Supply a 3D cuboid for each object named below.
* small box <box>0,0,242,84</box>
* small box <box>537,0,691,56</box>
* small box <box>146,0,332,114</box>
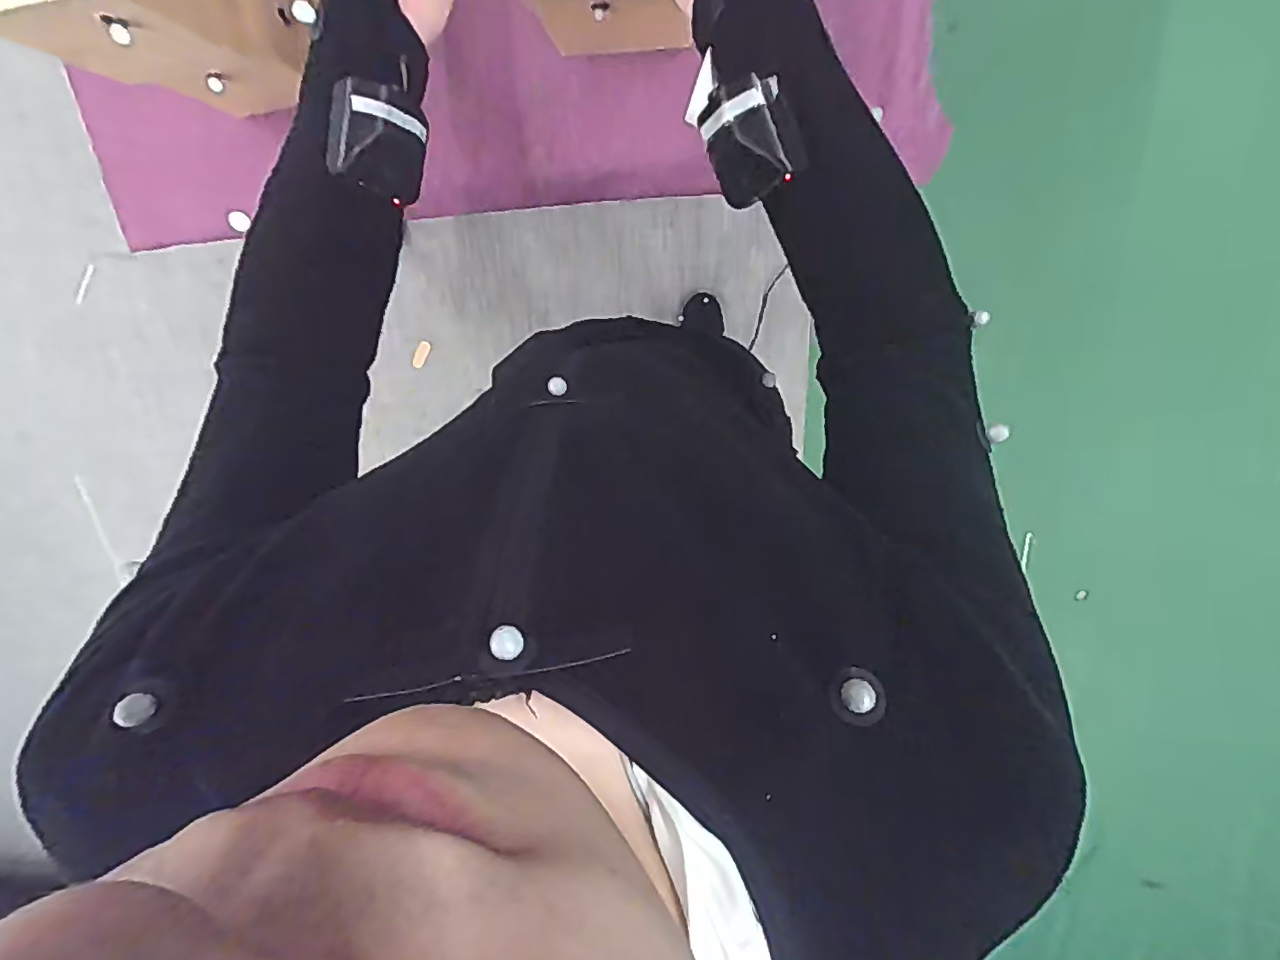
[{"bbox_3d":[-0.539,-0.522,0.532,0.179,0.176,0.168,-2,108,8],"label":"small box"},{"bbox_3d":[-0.031,-0.615,0.615,0.179,0.176,0.168,0,109,6],"label":"small box"},{"bbox_3d":[-0.525,-0.590,0.683,0.179,0.176,0.168,-4,109,8],"label":"small box"}]
